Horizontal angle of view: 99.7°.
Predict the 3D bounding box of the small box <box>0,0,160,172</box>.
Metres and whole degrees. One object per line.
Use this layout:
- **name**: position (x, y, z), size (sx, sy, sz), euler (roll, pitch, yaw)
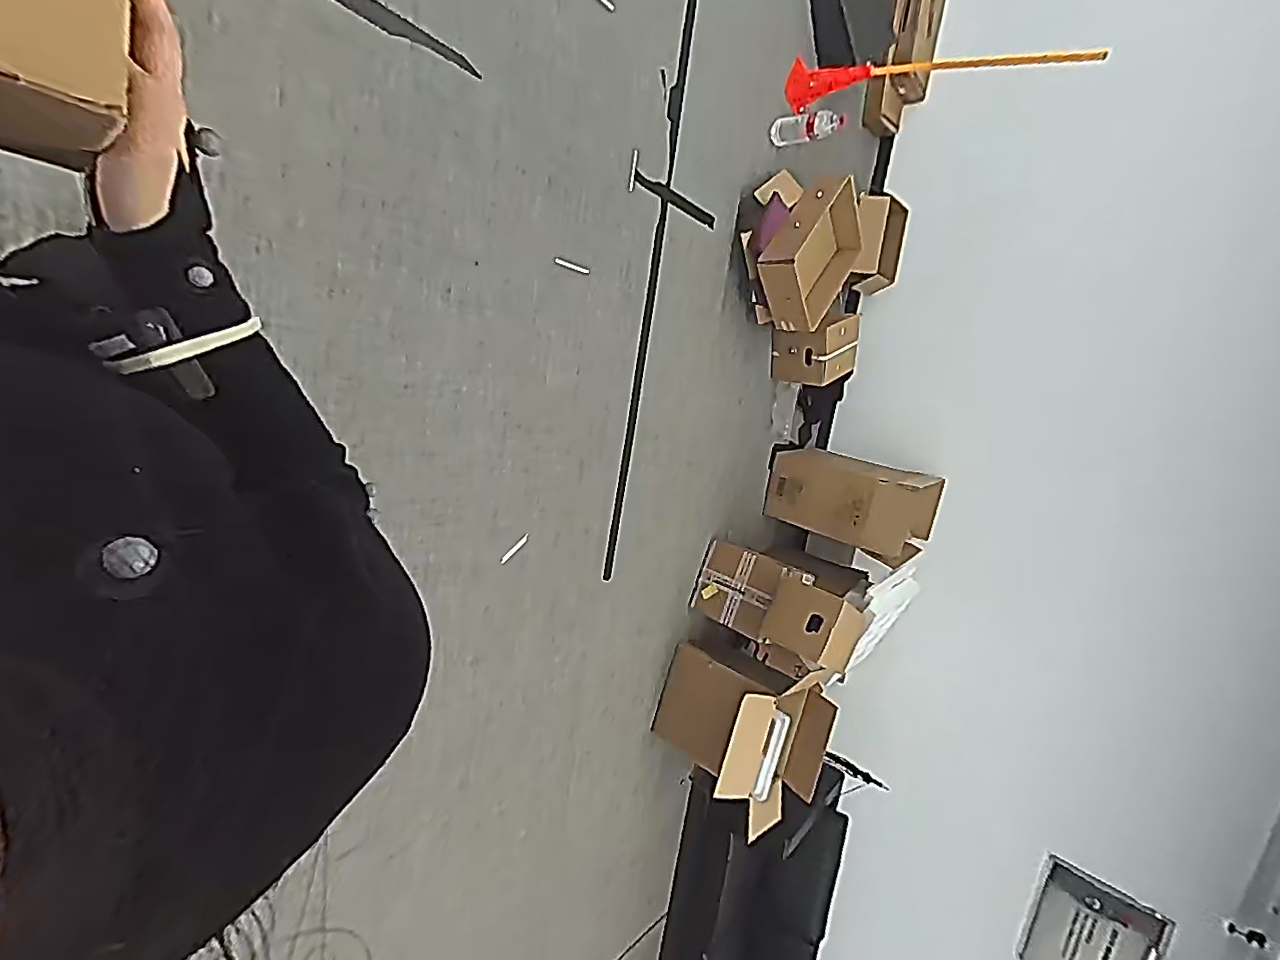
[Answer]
- **small box**: position (-0.310, -0.253, 0.210), size (0.168, 0.176, 0.179), euler (-1, 102, -50)
